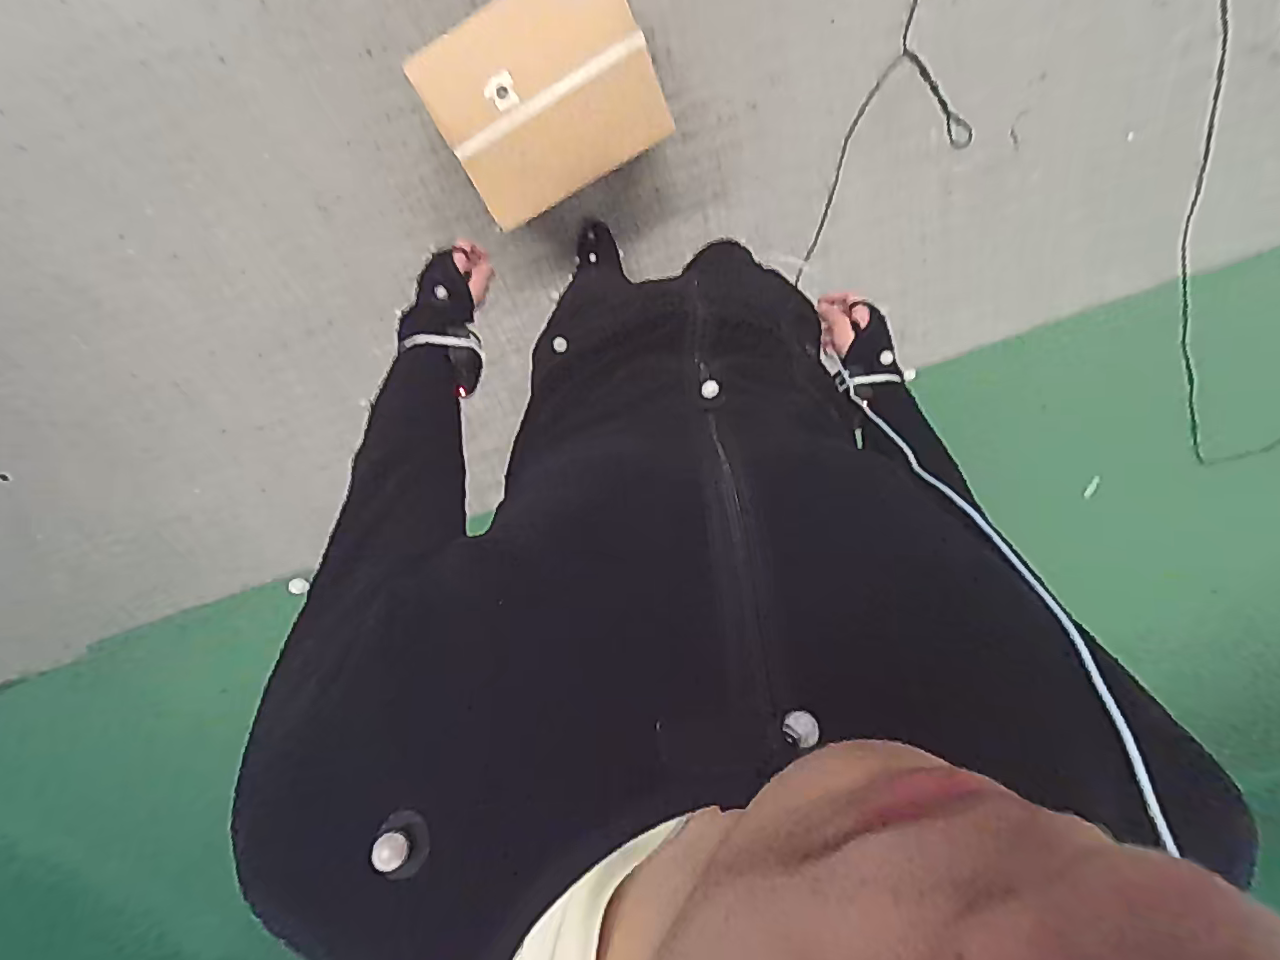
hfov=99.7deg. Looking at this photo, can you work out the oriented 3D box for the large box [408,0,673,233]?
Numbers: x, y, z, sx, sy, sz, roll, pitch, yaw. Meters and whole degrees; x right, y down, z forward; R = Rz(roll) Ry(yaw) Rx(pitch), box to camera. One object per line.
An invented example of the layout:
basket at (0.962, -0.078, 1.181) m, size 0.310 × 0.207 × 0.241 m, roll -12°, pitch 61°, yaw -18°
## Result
large box at (-0.190, -0.789, 1.133) m, size 0.408 × 0.320 × 0.320 m, roll -26°, pitch 122°, yaw 10°
